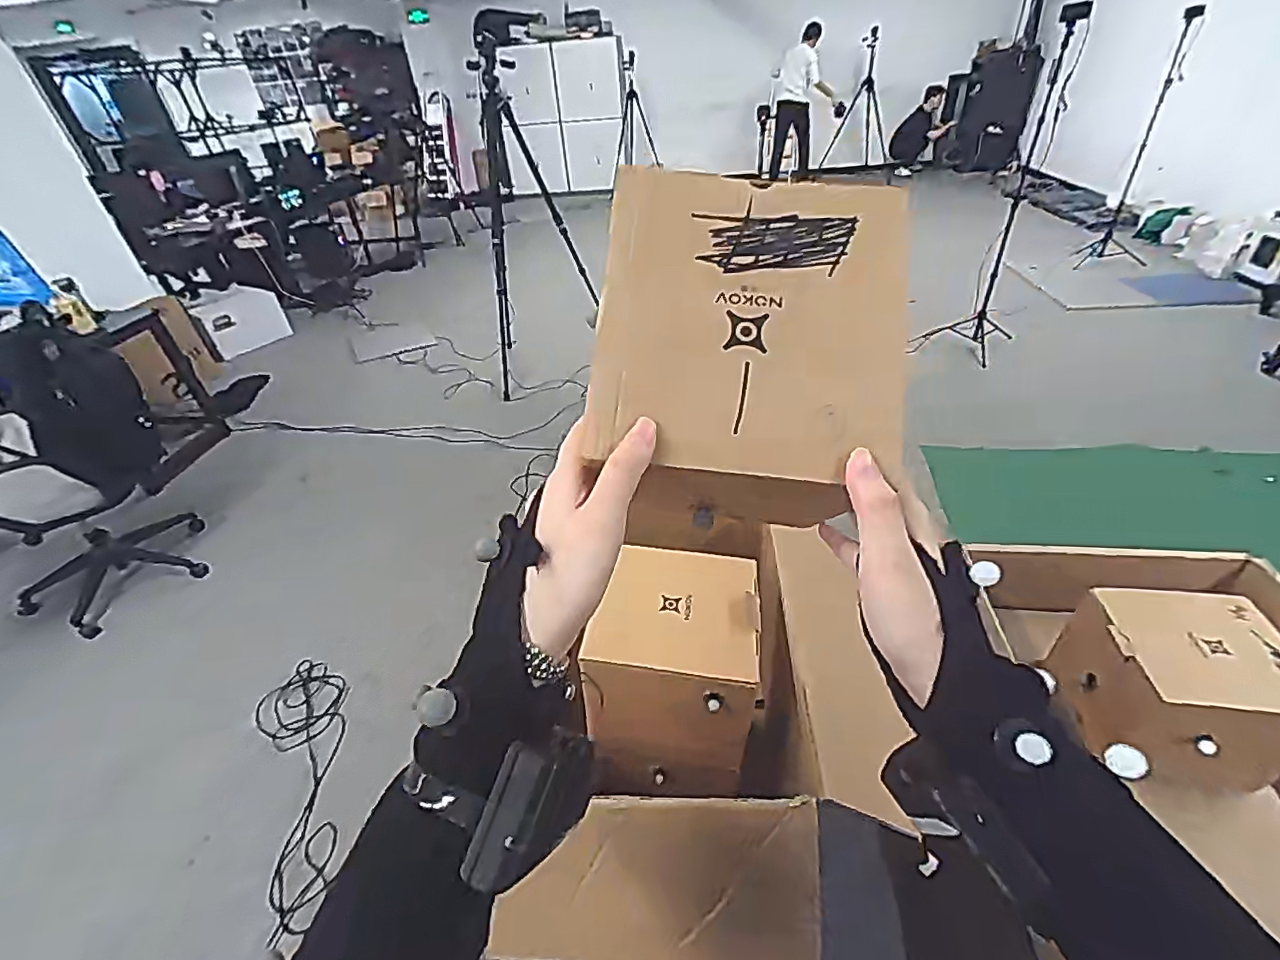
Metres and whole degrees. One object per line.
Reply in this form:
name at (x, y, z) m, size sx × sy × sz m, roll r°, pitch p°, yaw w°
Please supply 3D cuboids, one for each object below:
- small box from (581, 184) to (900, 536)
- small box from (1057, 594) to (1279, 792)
small box at (0.061, -0.065, 0.375) m, size 0.168 × 0.176 × 0.179 m, roll 6°, pitch 78°, yaw 3°
small box at (0.664, 0.264, 0.677) m, size 0.179 × 0.176 × 0.168 m, roll 1°, pitch 38°, yaw 11°
